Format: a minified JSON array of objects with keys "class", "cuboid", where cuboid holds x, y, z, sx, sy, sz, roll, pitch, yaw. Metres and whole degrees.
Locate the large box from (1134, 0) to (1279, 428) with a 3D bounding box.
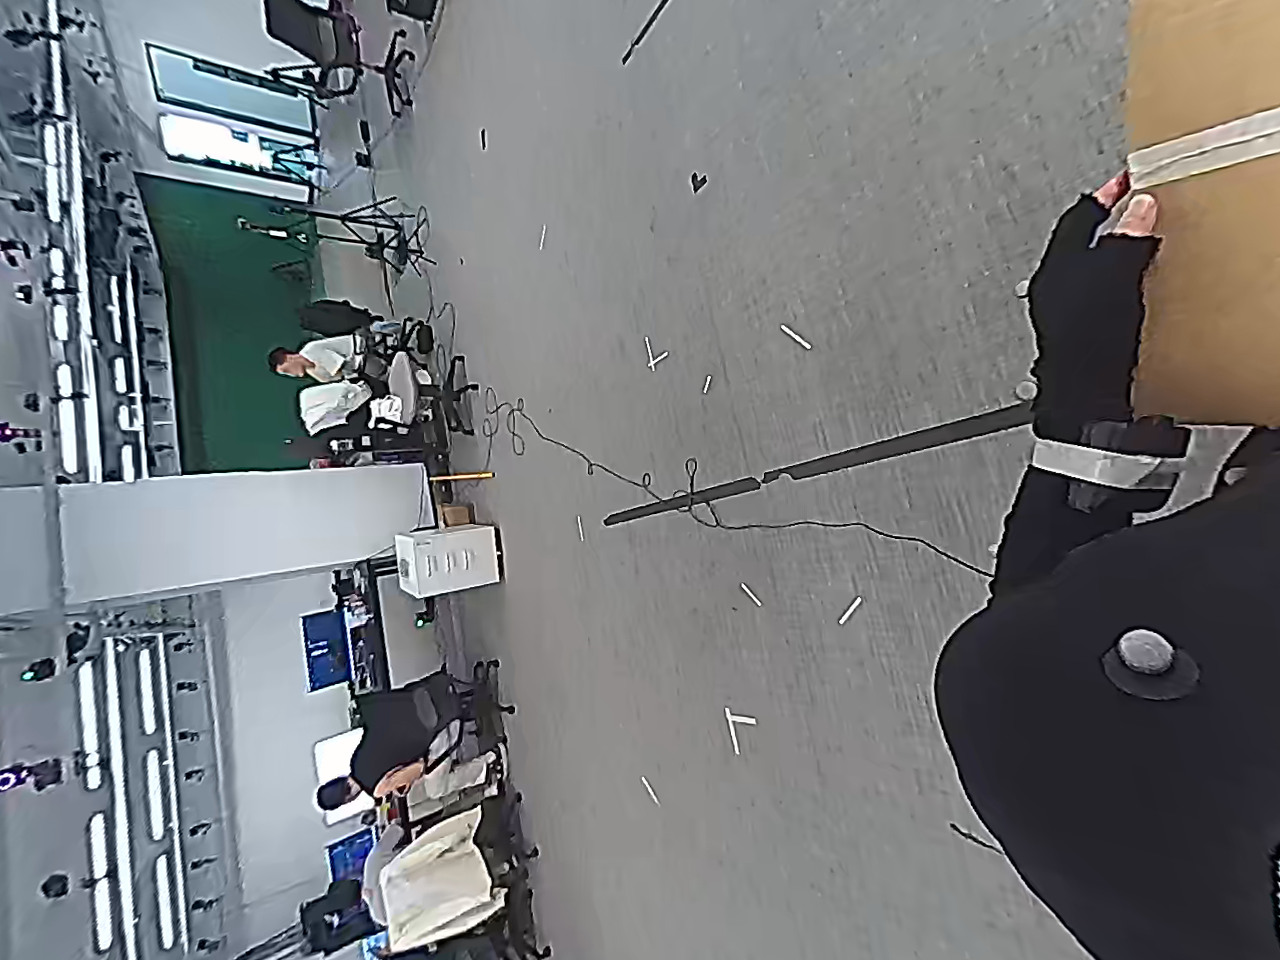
[{"class":"large box","cuboid":[0.532,-0.213,0.241,0.408,0.320,0.320,11,121,56]}]
